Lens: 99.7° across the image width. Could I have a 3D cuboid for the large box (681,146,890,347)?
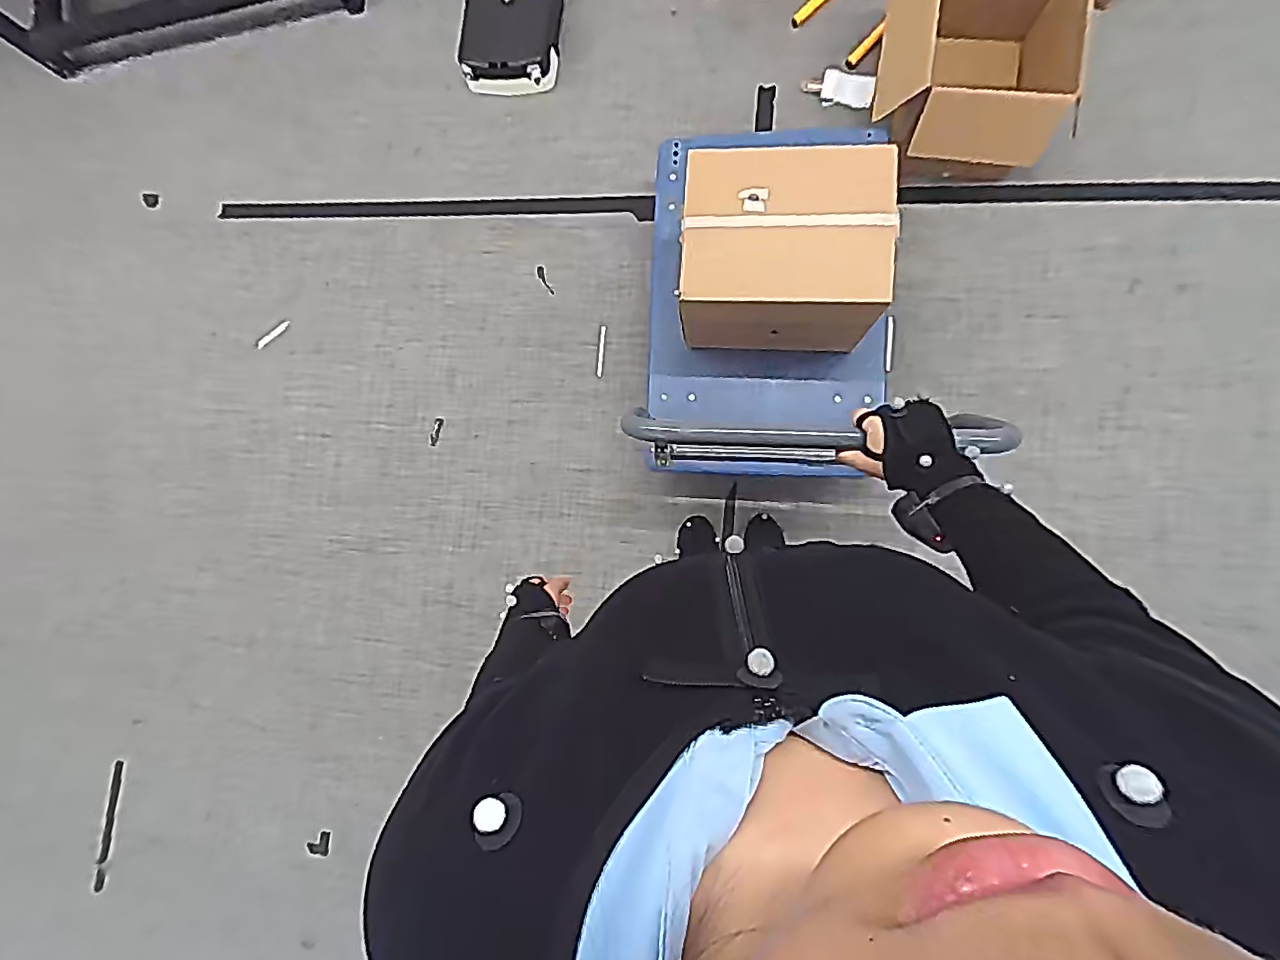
[{"bbox_3d":[0.308,-0.492,1.216,0.408,0.320,0.320,2,86,9],"label":"large box"}]
